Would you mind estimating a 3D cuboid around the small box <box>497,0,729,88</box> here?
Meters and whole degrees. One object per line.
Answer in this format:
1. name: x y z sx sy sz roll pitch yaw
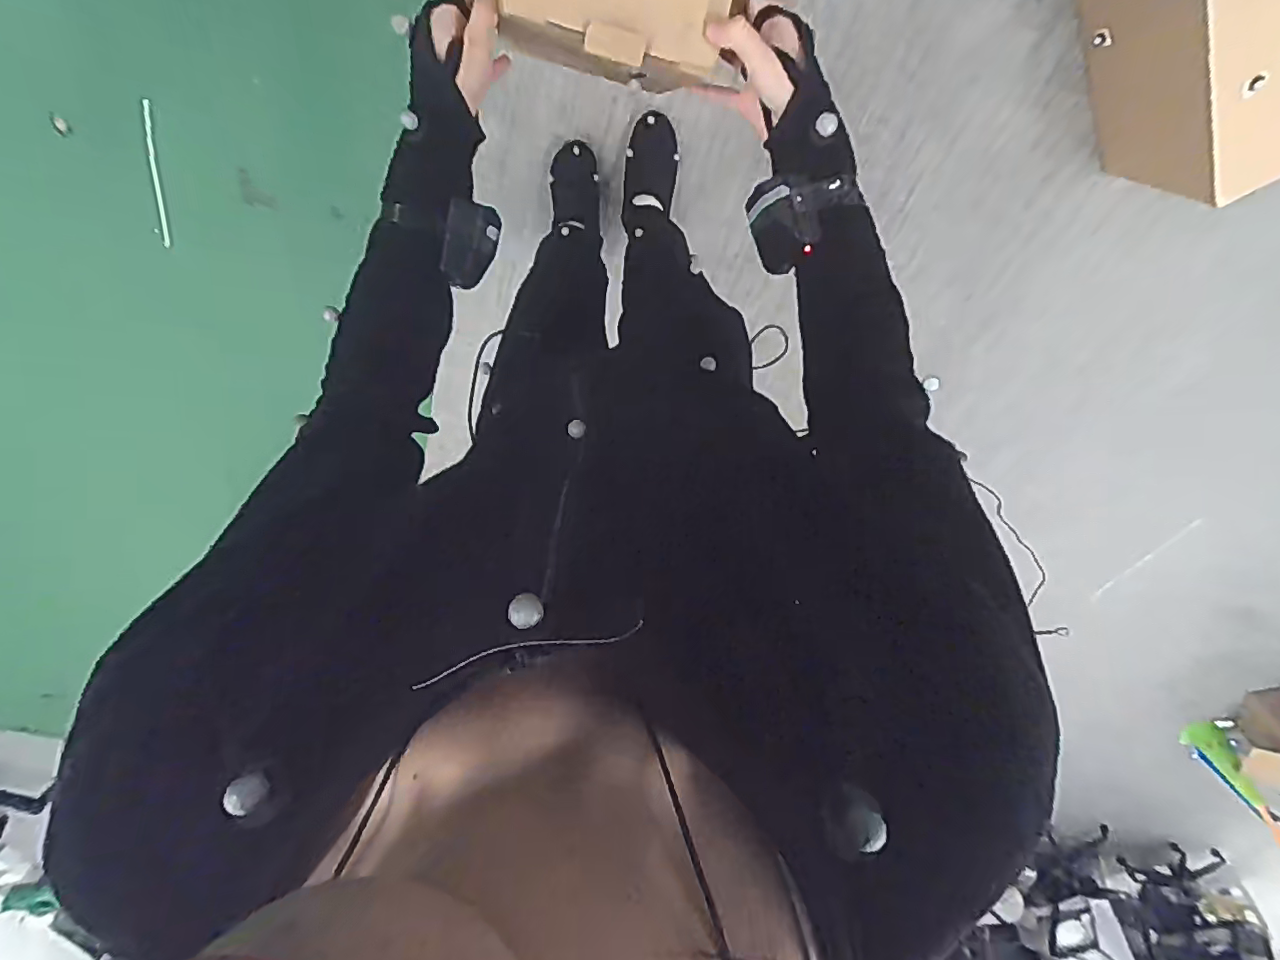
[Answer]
1. small box: -0.020 -0.437 0.425 0.168 0.176 0.179 4 119 -19
